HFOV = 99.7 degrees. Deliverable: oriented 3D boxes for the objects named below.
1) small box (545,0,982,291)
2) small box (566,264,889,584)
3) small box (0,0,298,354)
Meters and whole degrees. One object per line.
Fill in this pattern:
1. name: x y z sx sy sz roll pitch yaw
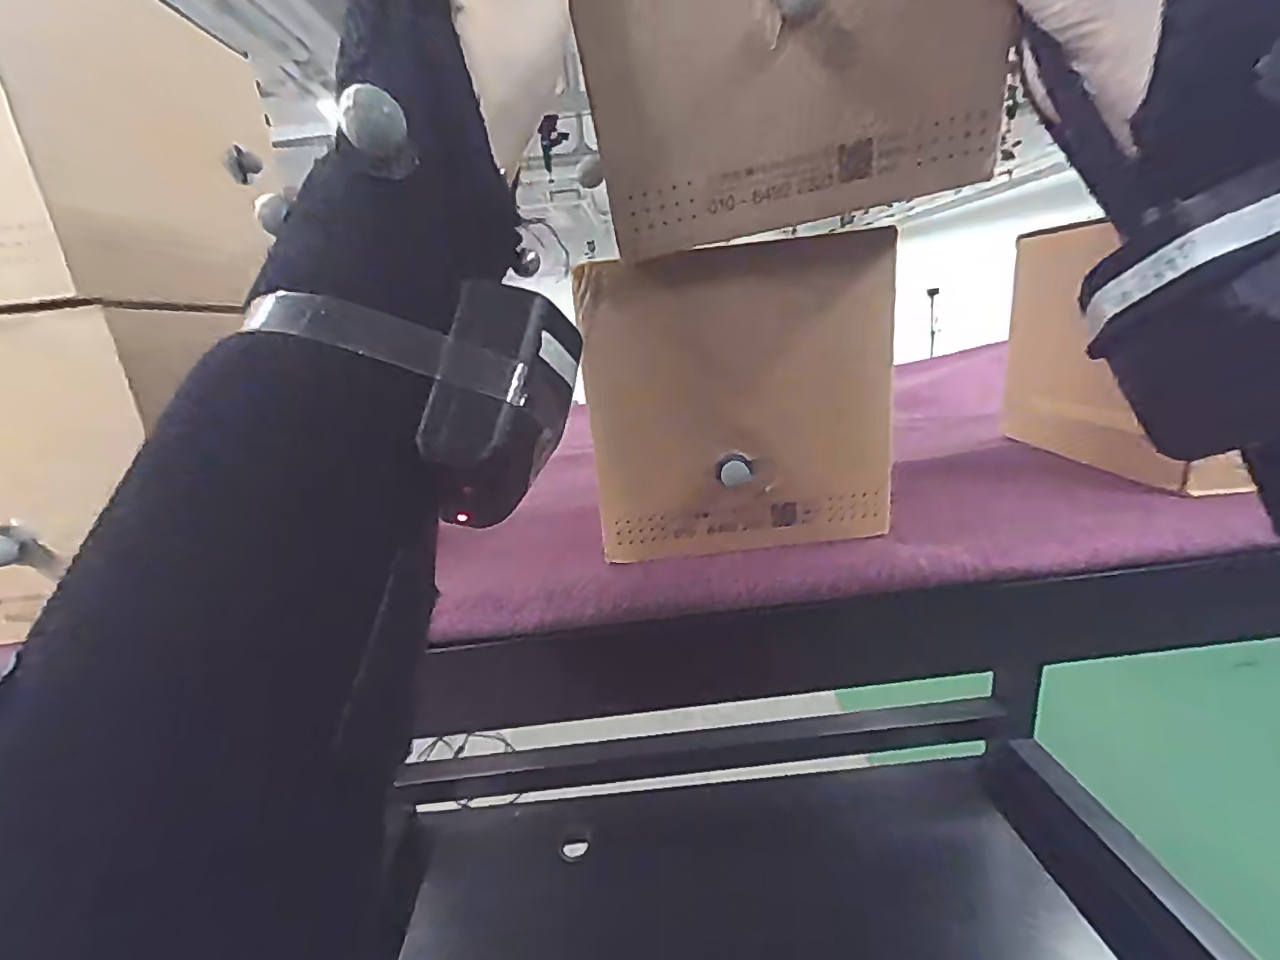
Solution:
1. small box: 0.050 -0.205 0.276 0.168 0.176 0.179 -11 30 5
2. small box: 0.050 -0.046 0.374 0.168 0.176 0.179 -6 18 1
3. small box: -0.335 -0.157 0.312 0.168 0.176 0.179 -6 17 2
